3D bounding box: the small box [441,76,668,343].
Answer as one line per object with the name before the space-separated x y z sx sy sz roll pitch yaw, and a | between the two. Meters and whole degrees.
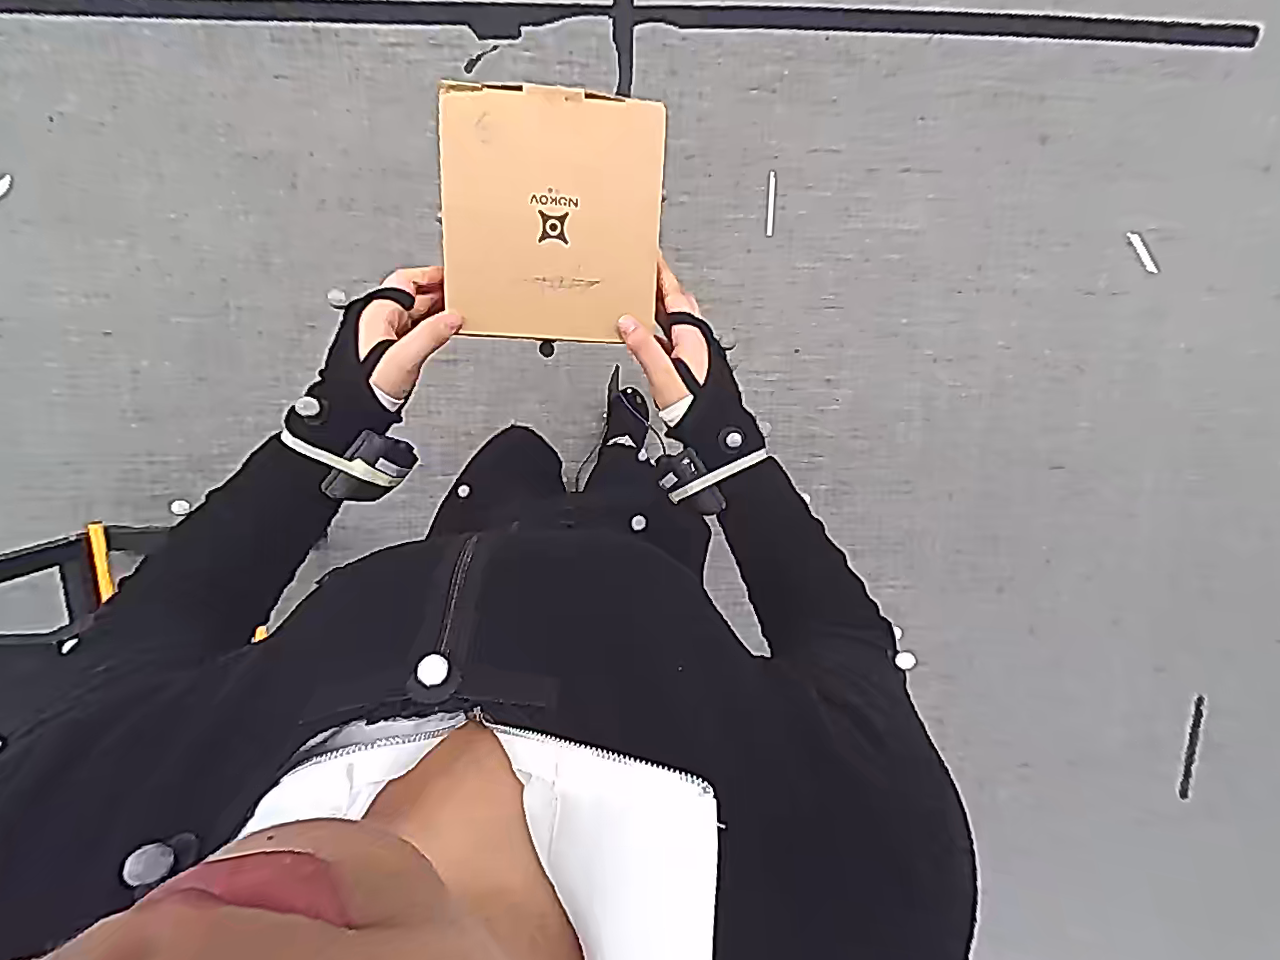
small box | -0.073 -0.217 0.484 0.168 0.176 0.179 1 105 -6
